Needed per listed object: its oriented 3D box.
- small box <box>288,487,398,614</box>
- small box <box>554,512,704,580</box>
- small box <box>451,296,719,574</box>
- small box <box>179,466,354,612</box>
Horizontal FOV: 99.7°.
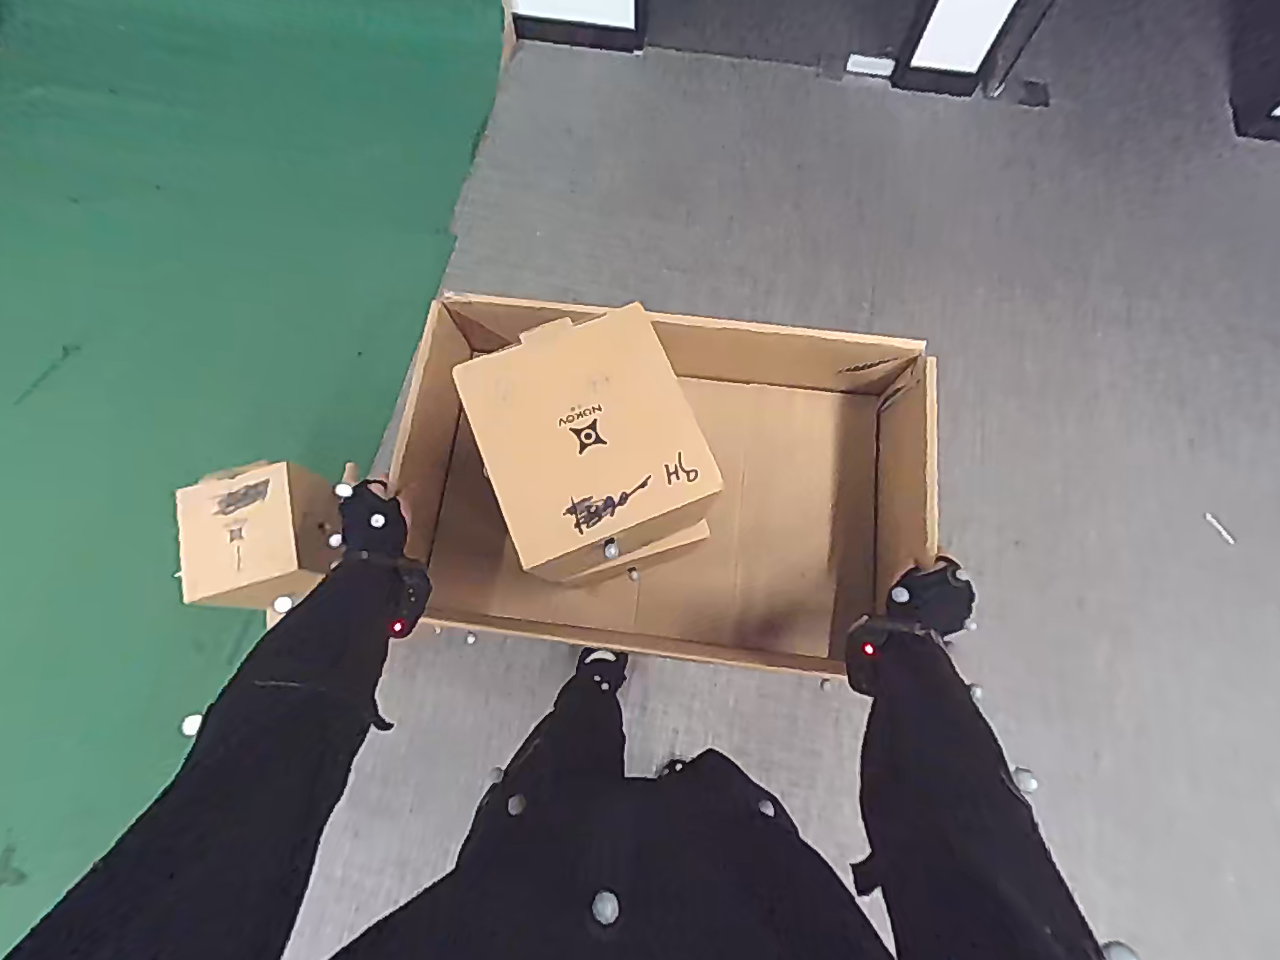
[{"bbox_3d":[-0.589,0.140,1.026,0.168,0.176,0.179,-21,73,-5],"label":"small box"},{"bbox_3d":[-0.032,0.018,0.654,0.168,0.176,0.179,-16,76,-5],"label":"small box"},{"bbox_3d":[-0.047,-0.027,0.496,0.168,0.176,0.179,-22,76,-6],"label":"small box"},{"bbox_3d":[-0.588,0.101,0.866,0.168,0.176,0.179,-16,74,-4],"label":"small box"}]
